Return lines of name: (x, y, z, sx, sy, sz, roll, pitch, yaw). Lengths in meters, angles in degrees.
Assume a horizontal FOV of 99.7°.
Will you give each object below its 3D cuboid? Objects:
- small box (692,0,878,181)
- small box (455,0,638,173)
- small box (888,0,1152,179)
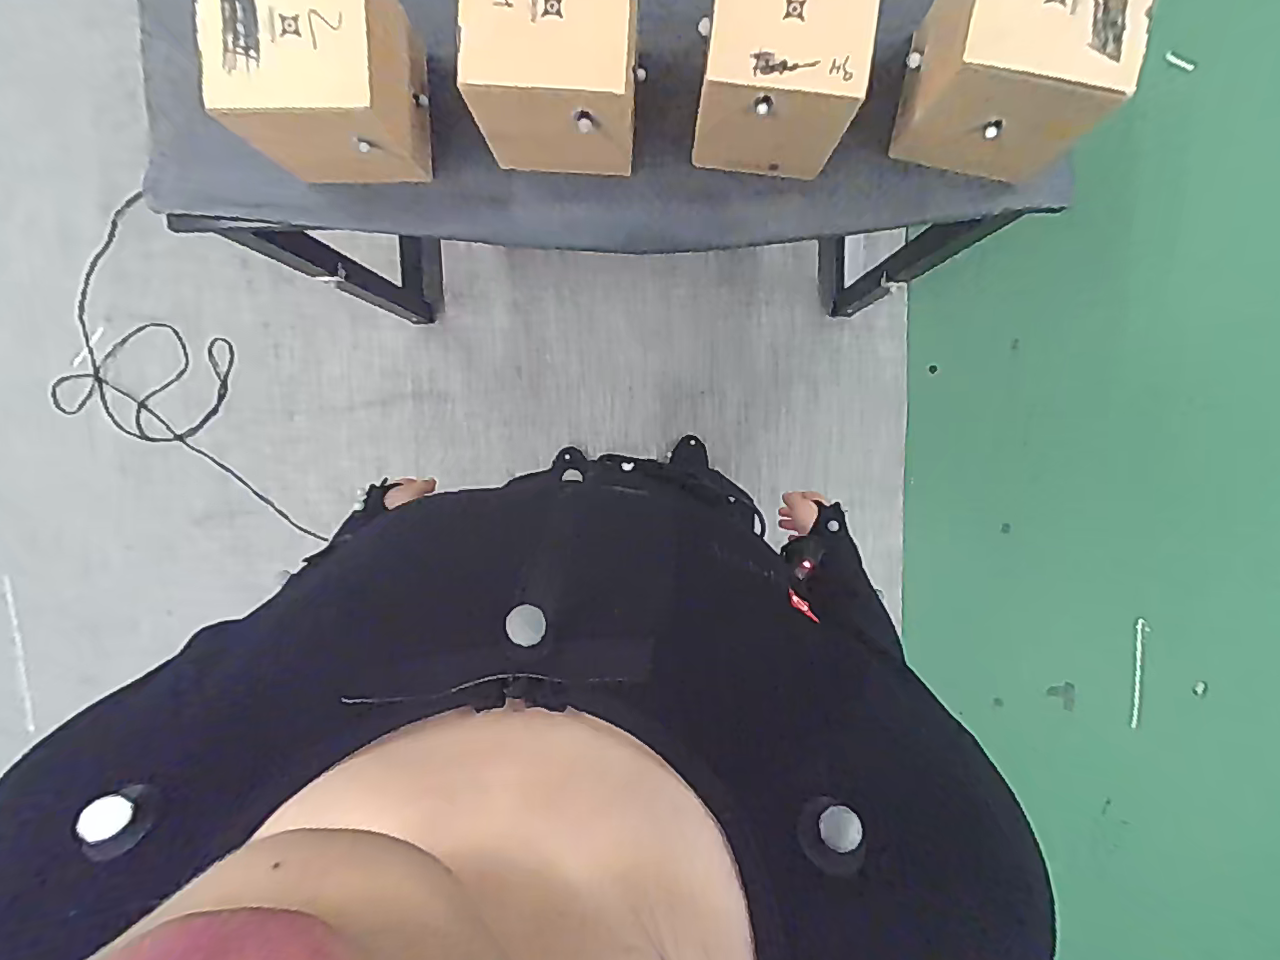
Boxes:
small box: (0.156, -0.482, 0.620, 0.168, 0.176, 0.179, 8, 93, 0)
small box: (-0.095, -0.480, 0.624, 0.179, 0.176, 0.168, 4, 93, 2)
small box: (0.417, -0.474, 0.613, 0.179, 0.176, 0.168, 12, 91, 1)
